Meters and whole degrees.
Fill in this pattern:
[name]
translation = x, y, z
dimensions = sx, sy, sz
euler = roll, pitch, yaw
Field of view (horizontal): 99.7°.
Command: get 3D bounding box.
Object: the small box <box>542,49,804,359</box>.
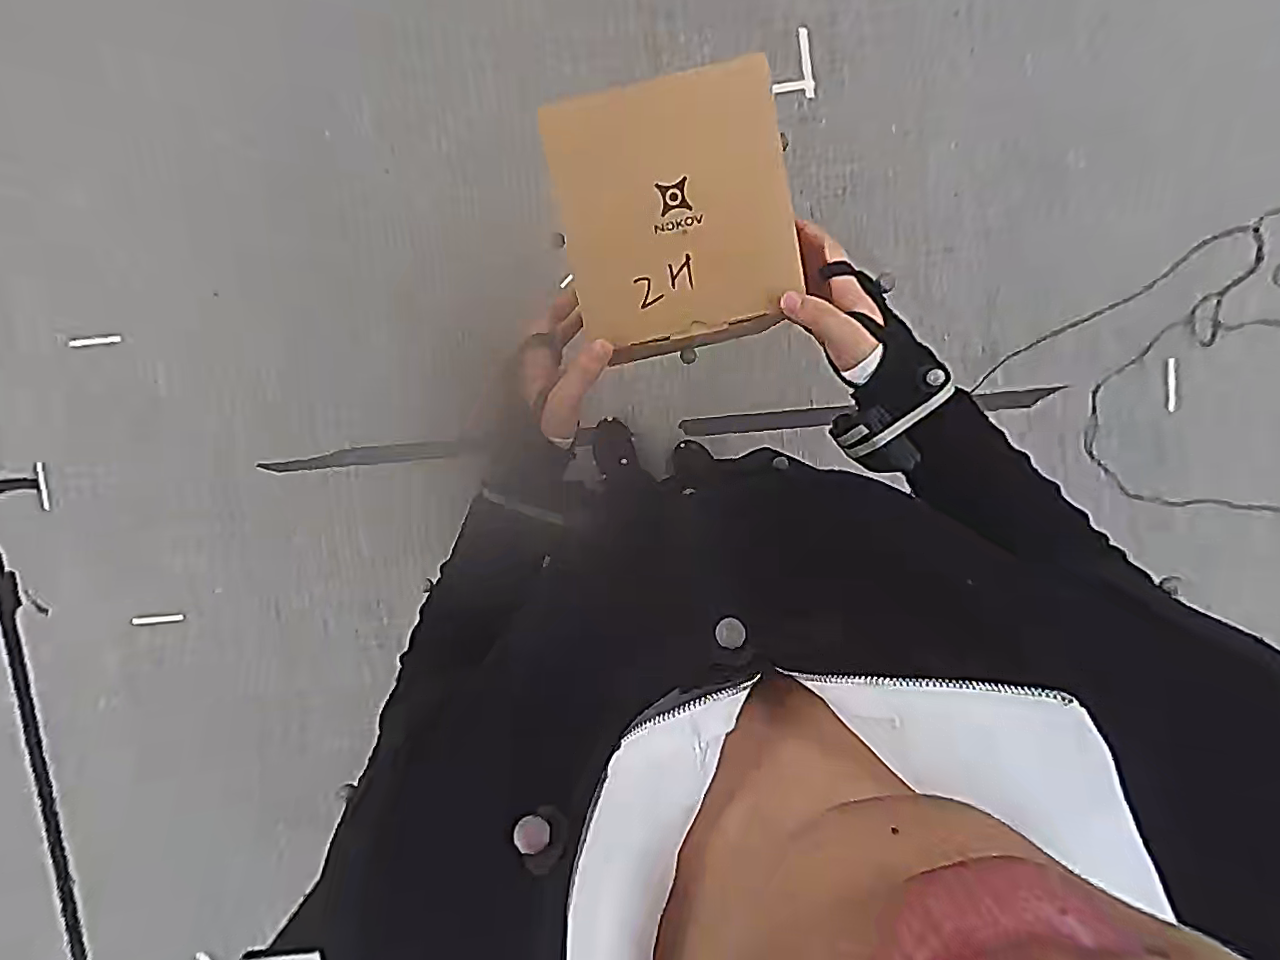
[small box]
translation = 0.025, -0.210, 0.464
dimensions = 0.168, 0.176, 0.179
euler = -11, 99, 3
